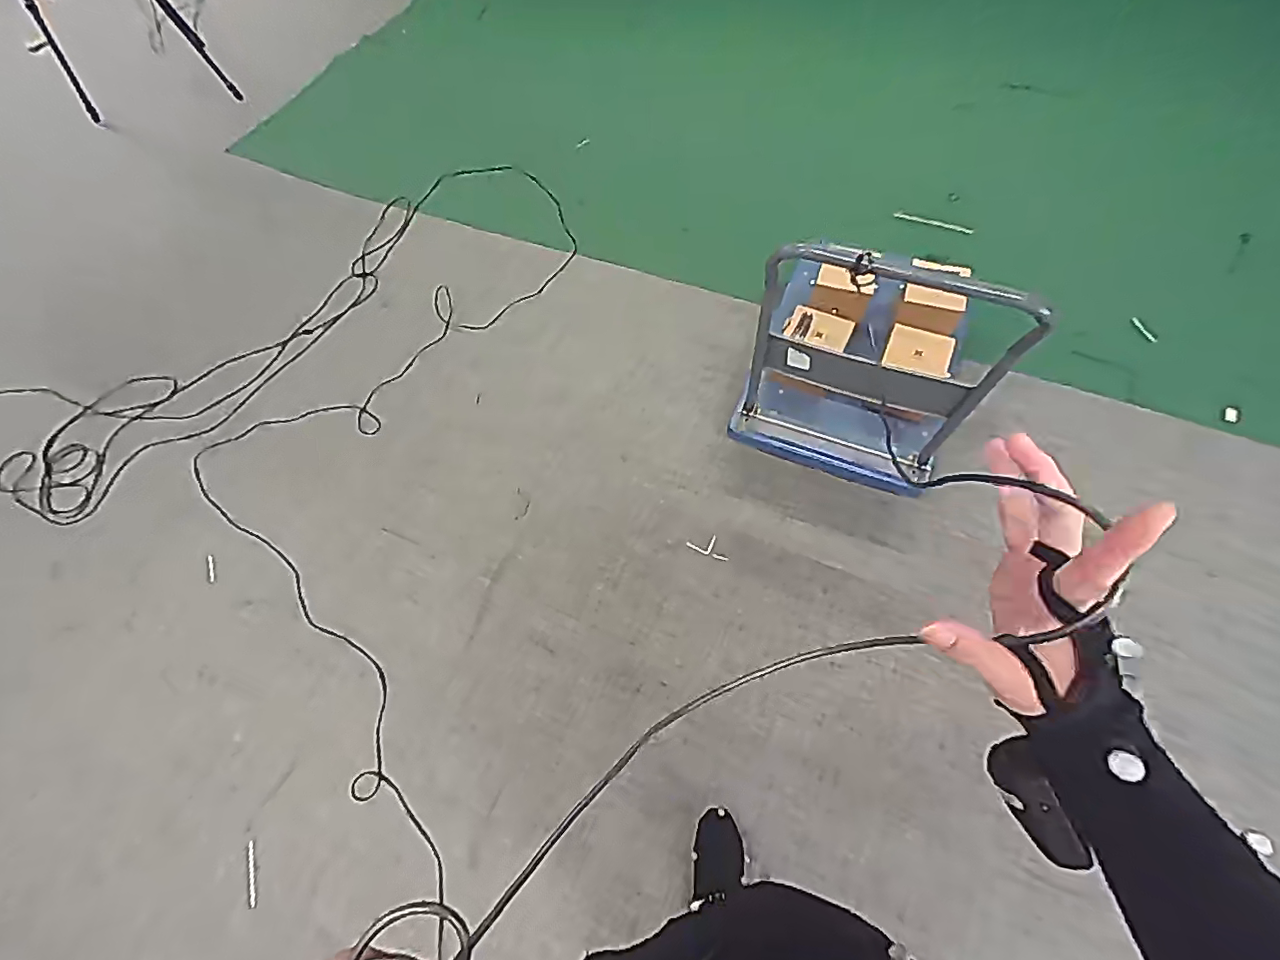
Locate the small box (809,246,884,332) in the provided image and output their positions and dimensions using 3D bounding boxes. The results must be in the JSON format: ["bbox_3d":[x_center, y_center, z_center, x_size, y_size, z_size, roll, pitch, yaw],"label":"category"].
[{"bbox_3d":[0.641,-0.594,1.695,0.168,0.176,0.179,17,66,13],"label":"small box"}]

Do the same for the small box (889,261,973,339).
[{"bbox_3d":[0.876,-0.524,1.638,0.168,0.176,0.179,17,67,14],"label":"small box"}]

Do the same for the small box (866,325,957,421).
[{"bbox_3d":[0.763,-0.300,1.536,0.168,0.176,0.179,21,68,15],"label":"small box"}]
